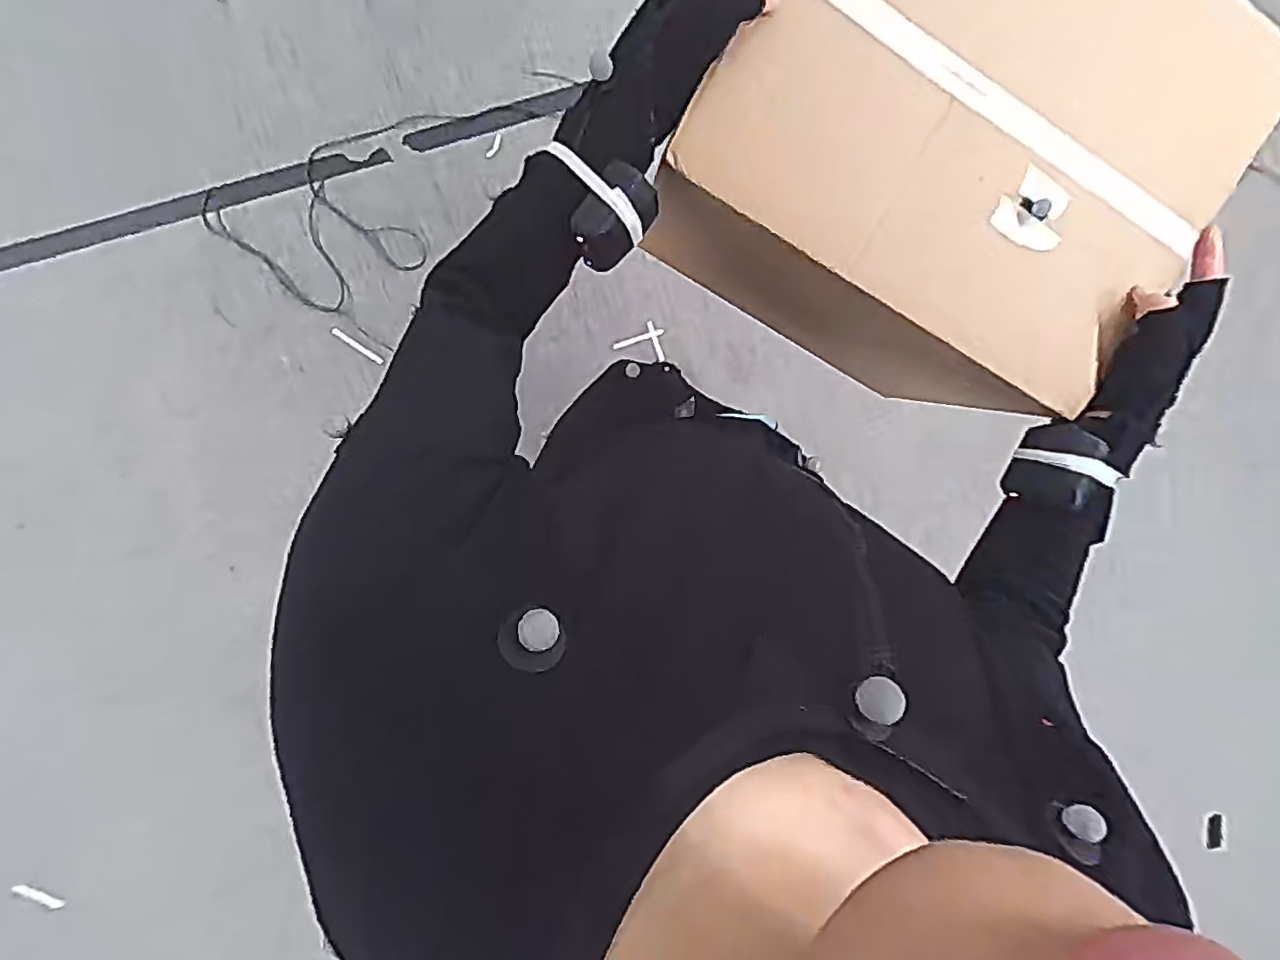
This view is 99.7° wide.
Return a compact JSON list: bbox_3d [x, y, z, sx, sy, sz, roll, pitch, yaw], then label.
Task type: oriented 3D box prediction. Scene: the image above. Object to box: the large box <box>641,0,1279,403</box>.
[{"bbox_3d":[0.253,-0.318,0.561,0.408,0.320,0.320,28,100,-10],"label":"large box"}]
